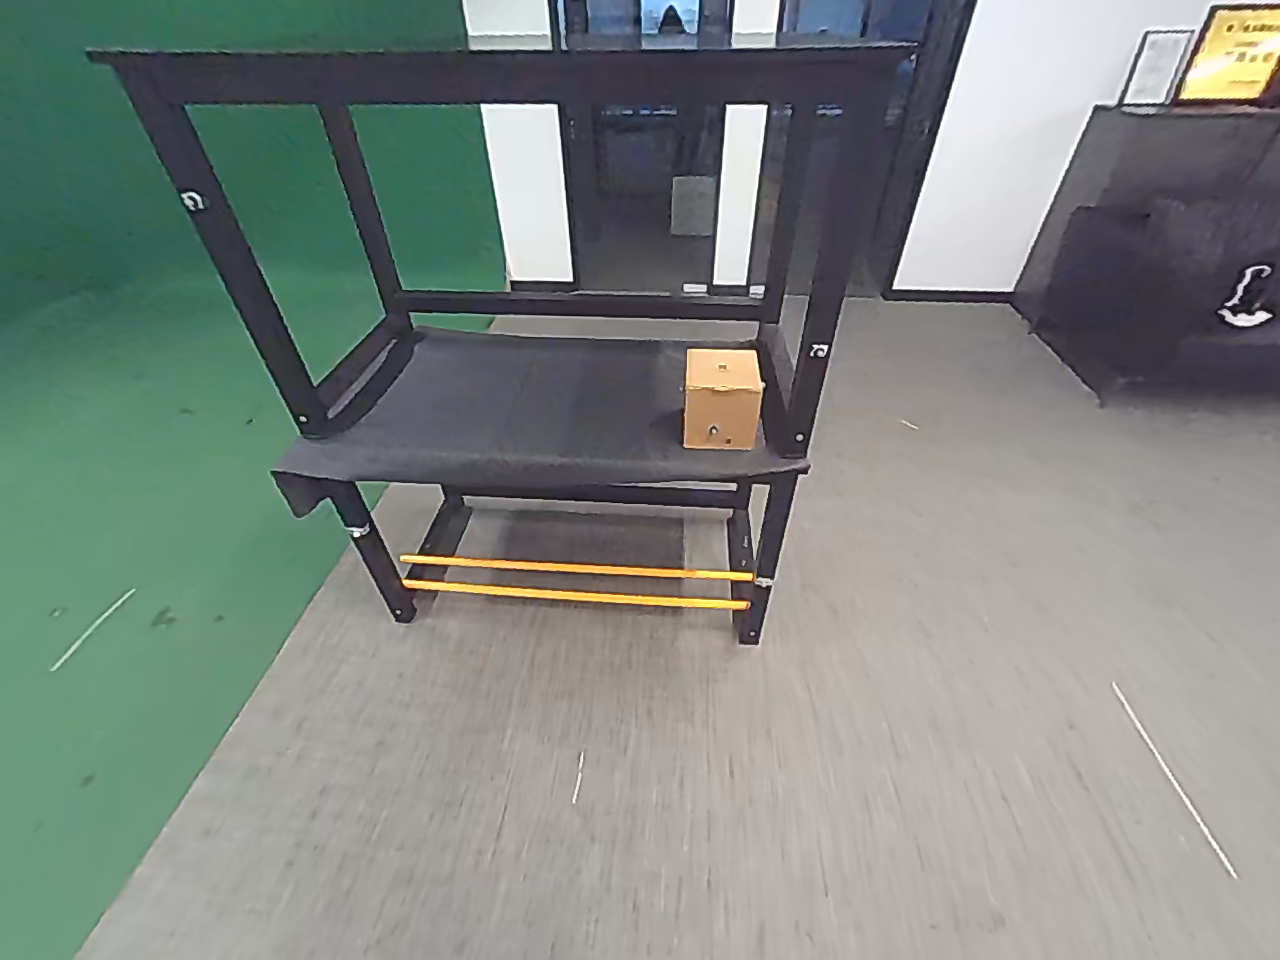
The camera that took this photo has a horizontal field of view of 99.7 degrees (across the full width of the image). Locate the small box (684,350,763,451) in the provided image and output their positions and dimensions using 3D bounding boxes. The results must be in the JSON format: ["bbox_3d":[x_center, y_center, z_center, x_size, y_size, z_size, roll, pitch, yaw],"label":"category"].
[{"bbox_3d":[0.190,-0.188,1.271,0.168,0.176,0.179,2,41,4],"label":"small box"}]
